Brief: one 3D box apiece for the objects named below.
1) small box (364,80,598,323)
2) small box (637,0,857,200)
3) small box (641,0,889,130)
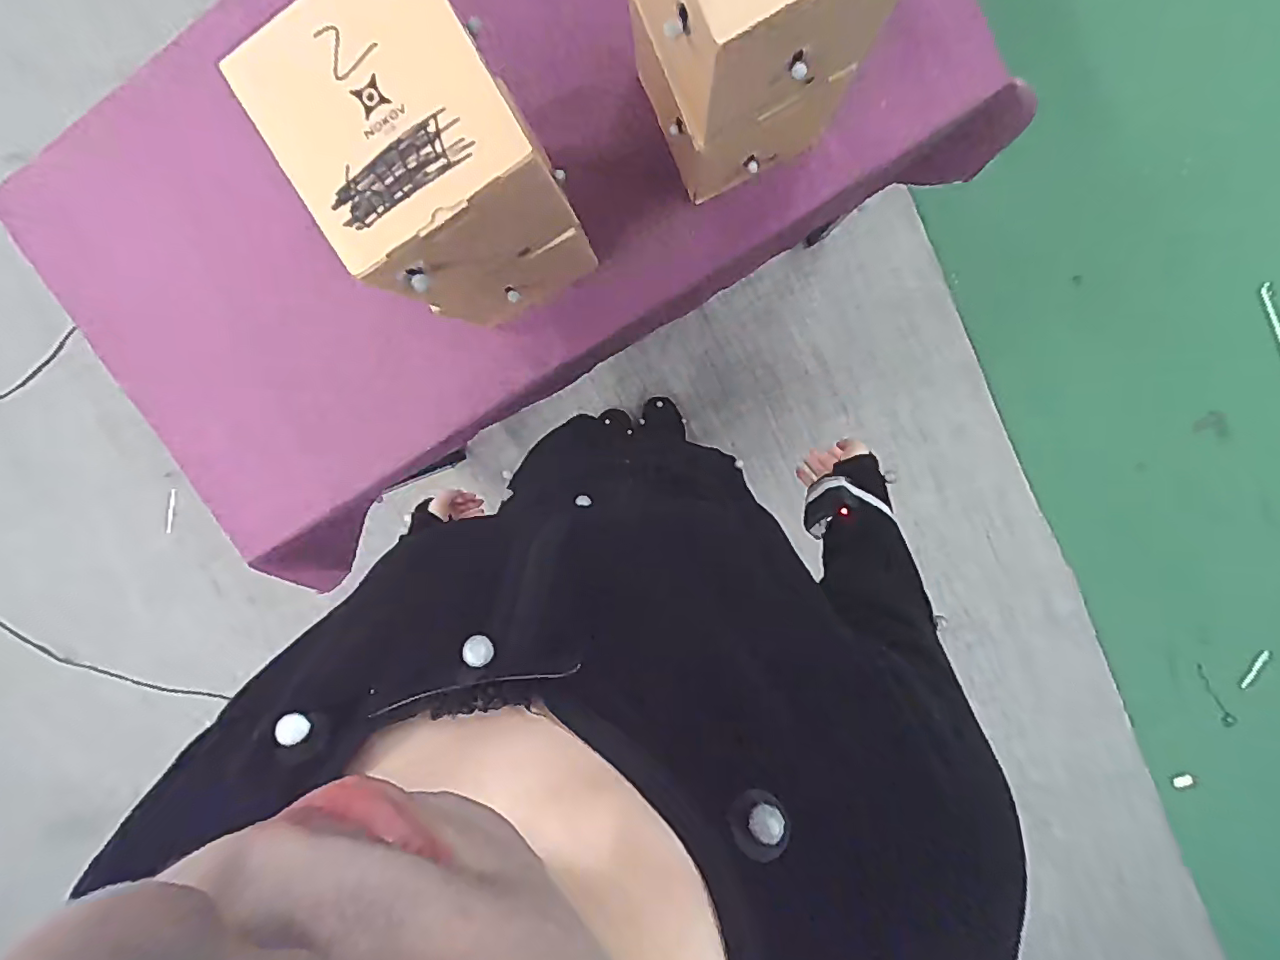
[{"bbox_3d":[-0.169,-0.300,0.632,0.179,0.176,0.168,-25,97,8],"label":"small box"},{"bbox_3d":[0.103,-0.447,0.590,0.168,0.176,0.179,-24,98,8],"label":"small box"},{"bbox_3d":[0.094,-0.419,0.427,0.168,0.176,0.179,-26,98,7],"label":"small box"}]
